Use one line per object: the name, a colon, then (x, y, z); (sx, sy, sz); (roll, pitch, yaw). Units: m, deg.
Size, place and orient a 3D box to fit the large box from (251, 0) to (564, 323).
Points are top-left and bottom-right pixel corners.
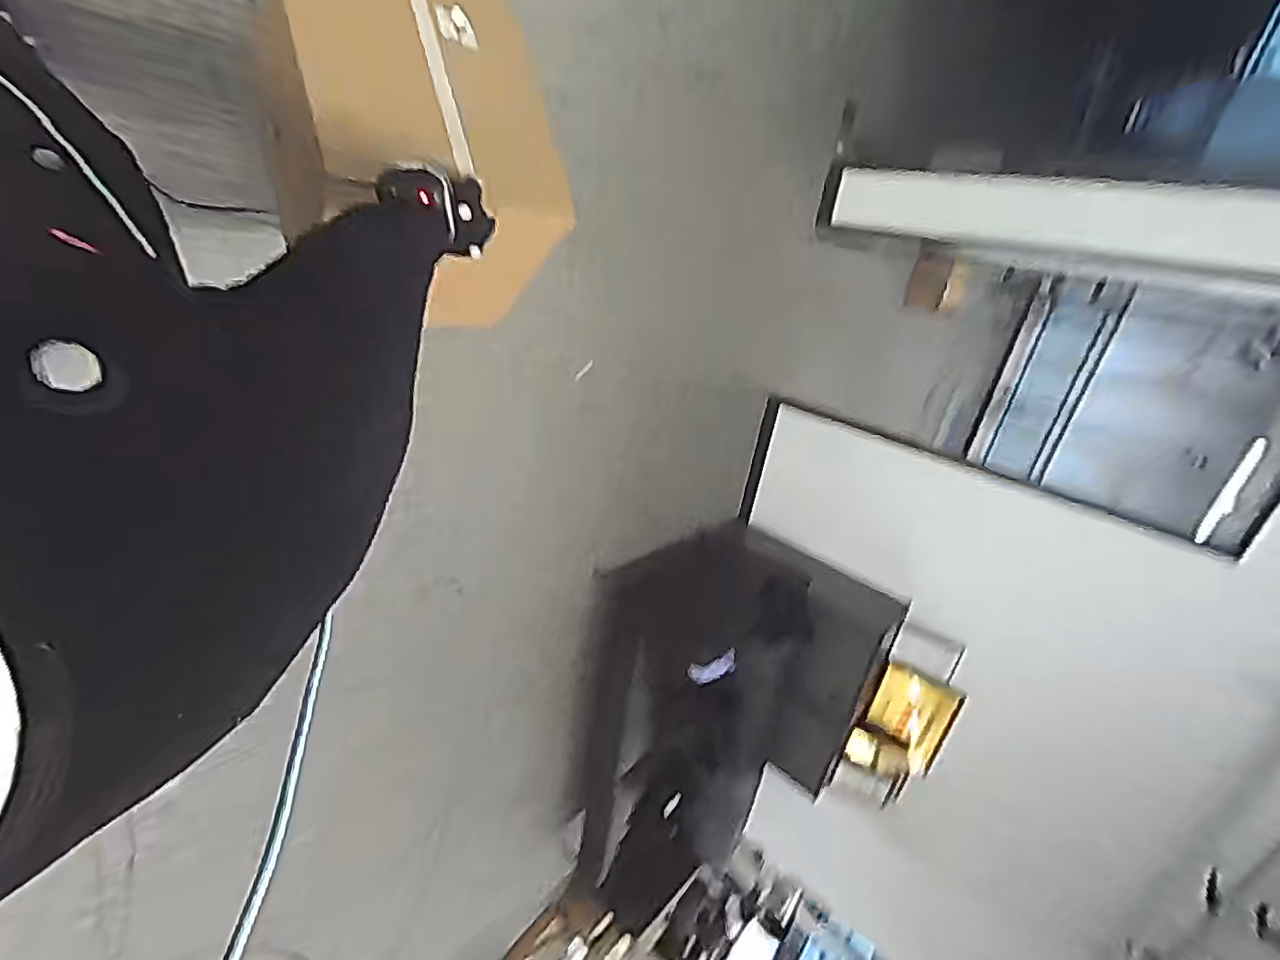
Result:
large box: (-0.367, -0.492, 0.822); (0.320, 0.320, 0.408); (-12, 80, -39)
